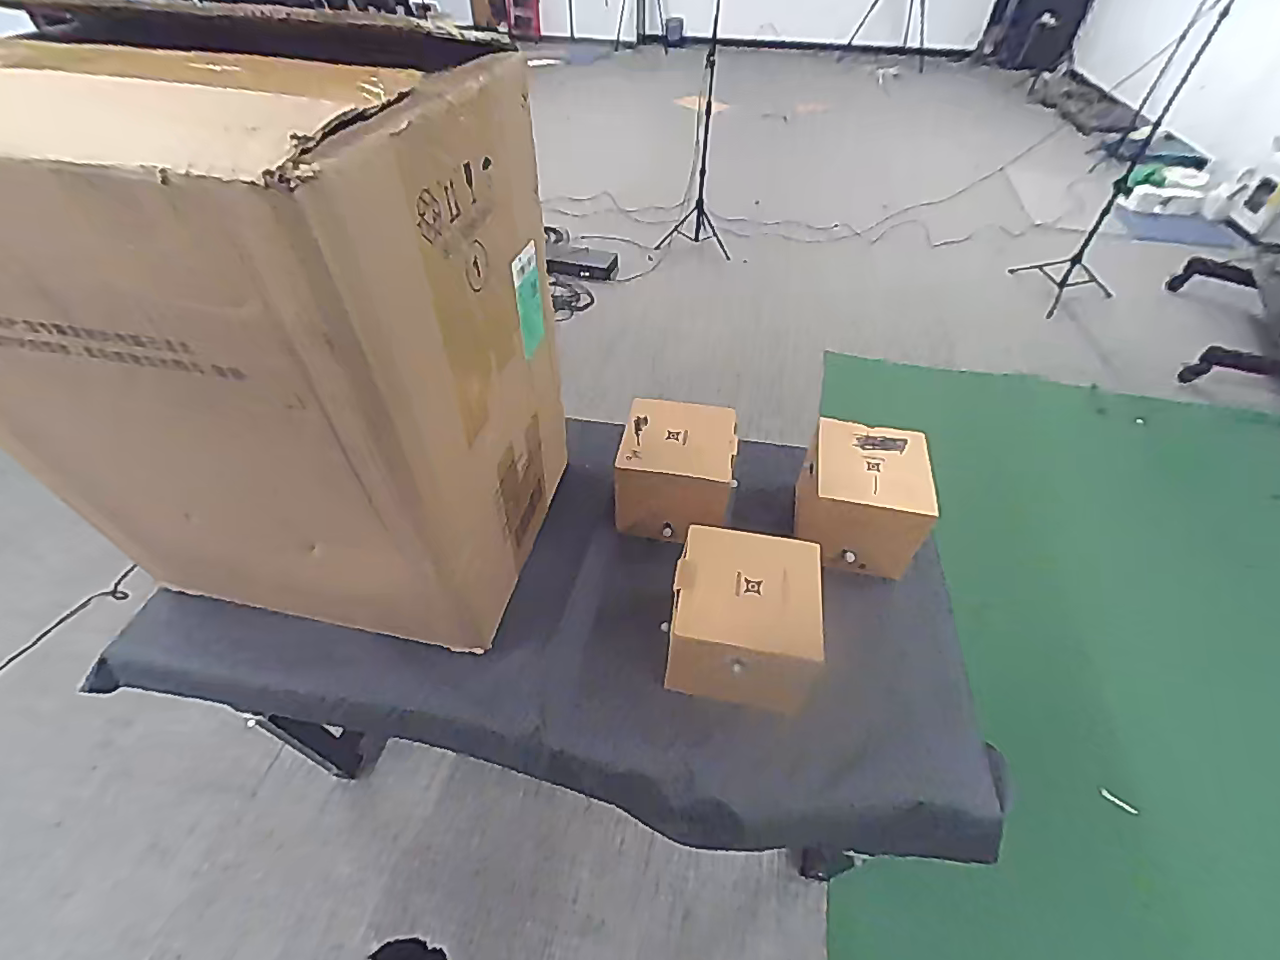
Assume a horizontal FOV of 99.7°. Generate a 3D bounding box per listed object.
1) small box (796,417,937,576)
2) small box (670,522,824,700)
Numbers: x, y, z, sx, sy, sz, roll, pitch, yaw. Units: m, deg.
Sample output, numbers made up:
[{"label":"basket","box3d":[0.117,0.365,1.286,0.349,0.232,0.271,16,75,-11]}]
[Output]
[{"label":"small box","box3d":[0.354,0.027,0.879,0.168,0.176,0.179,10,49,8]},{"label":"small box","box3d":[0.139,0.181,0.738,0.179,0.176,0.168,9,49,6]}]
